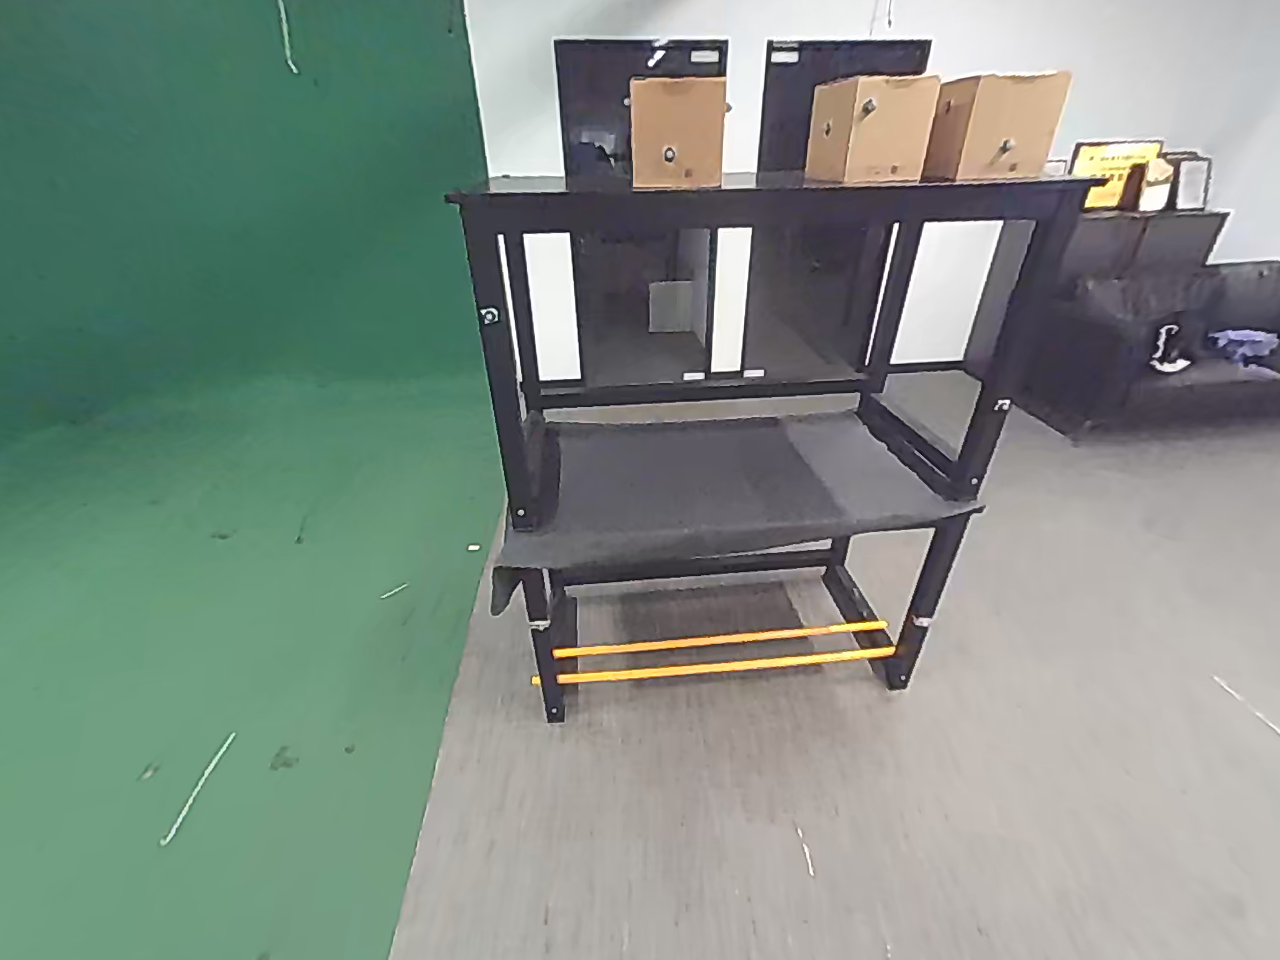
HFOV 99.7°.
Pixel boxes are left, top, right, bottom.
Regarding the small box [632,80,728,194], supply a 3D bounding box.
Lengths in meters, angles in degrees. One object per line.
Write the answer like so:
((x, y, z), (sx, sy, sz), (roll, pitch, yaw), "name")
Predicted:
((0.072, -0.648, 1.031), (0.168, 0.176, 0.179), (1, 32, 3), "small box")
